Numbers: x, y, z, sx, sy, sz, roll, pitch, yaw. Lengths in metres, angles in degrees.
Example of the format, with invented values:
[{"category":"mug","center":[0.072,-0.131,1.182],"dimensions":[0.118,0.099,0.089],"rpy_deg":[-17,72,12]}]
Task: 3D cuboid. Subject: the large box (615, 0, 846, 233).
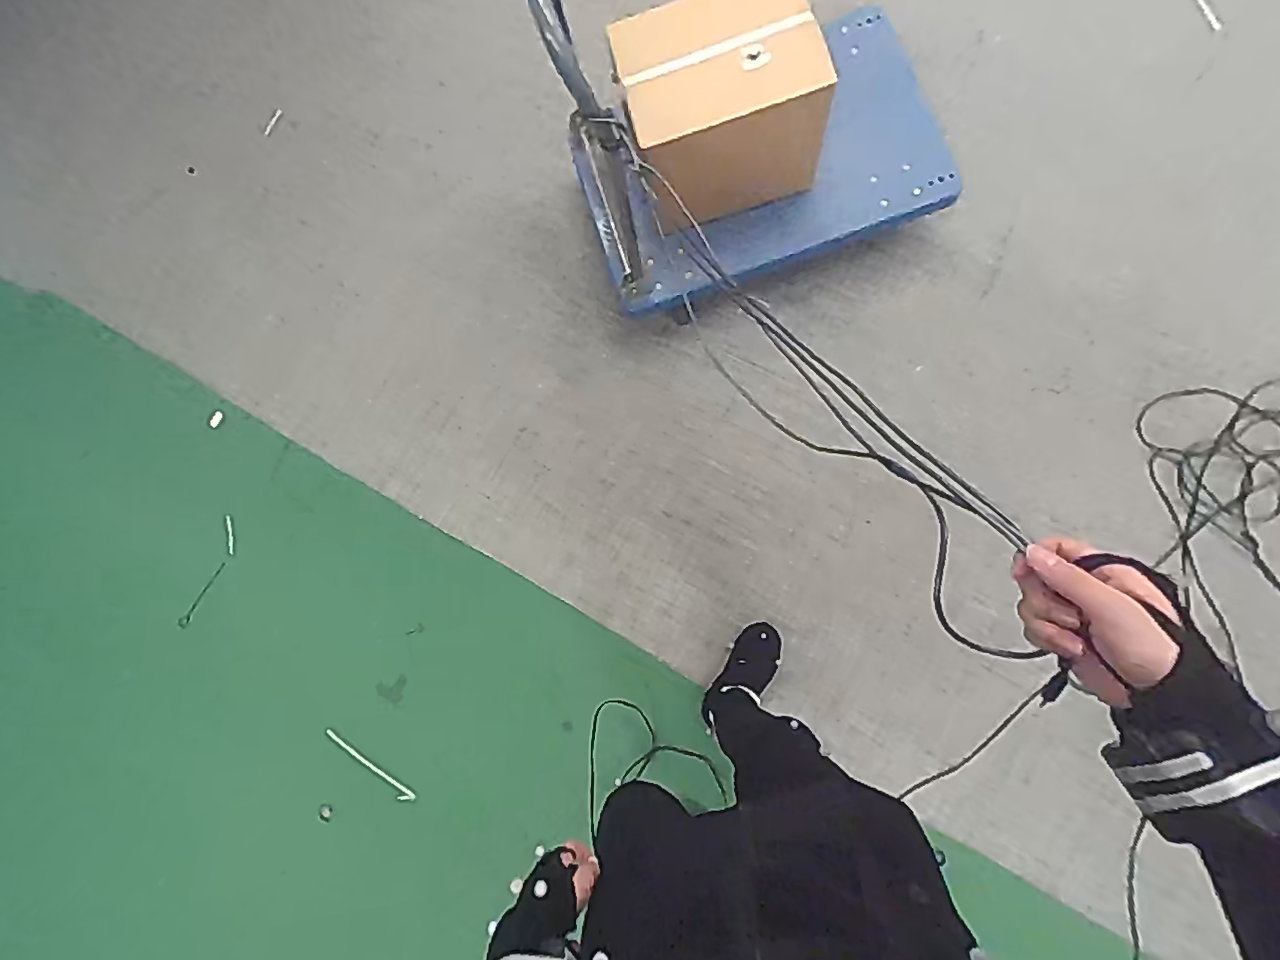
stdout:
[{"category":"large box","center":[0.192,-0.838,1.232],"dimensions":[0.408,0.320,0.320],"rpy_deg":[-15,80,5]}]
